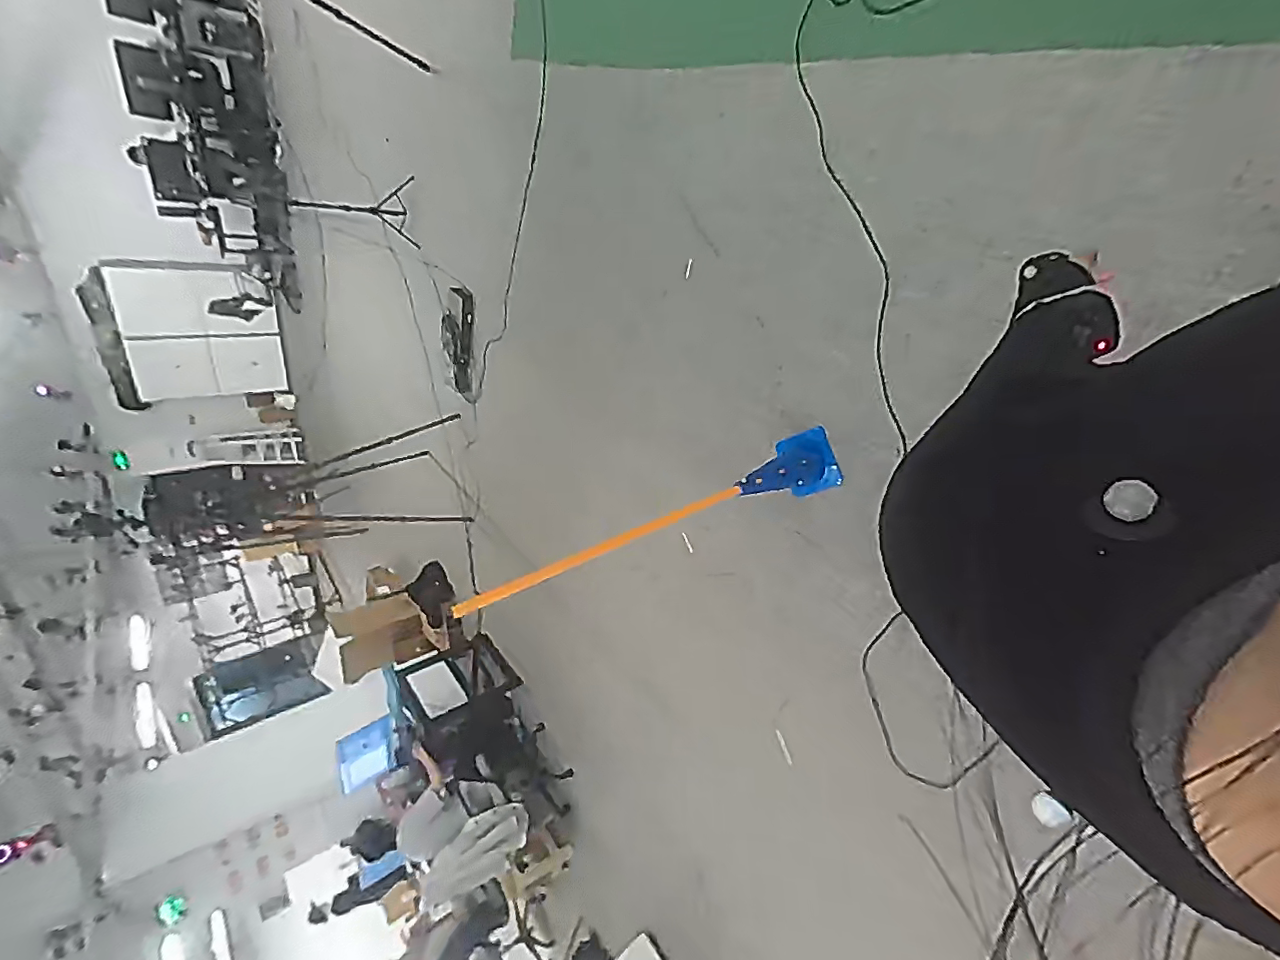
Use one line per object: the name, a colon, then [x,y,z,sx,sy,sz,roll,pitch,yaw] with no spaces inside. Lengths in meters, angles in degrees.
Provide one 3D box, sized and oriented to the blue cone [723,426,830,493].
blue cone: [0.395,-0.019,1.661,0.193,0.380,0.192,-29,82,52]
